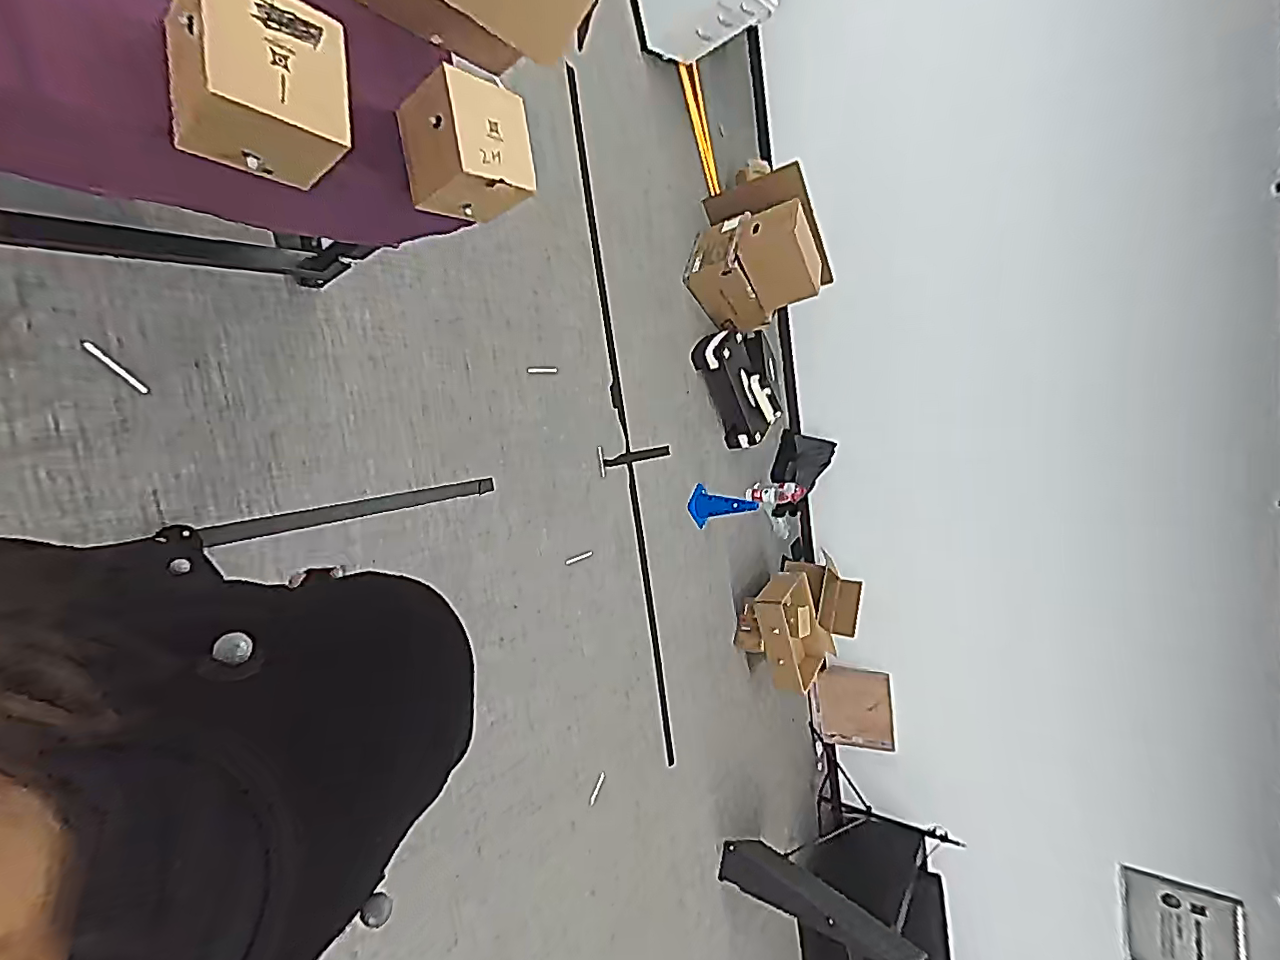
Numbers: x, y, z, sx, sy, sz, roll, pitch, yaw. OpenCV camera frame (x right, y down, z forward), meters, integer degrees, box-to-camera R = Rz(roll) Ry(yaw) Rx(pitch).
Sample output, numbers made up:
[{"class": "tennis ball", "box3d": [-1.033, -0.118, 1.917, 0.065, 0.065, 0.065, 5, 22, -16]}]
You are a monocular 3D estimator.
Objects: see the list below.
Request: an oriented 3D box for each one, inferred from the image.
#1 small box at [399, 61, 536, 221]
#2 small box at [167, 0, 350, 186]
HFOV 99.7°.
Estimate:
[{"class": "small box", "box3d": [-0.322, -0.613, 1.004, 0.168, 0.176, 0.179, -16, 100, -49]}, {"class": "small box", "box3d": [-0.529, -0.548, 0.750, 0.168, 0.176, 0.179, -6, 94, -51]}]
